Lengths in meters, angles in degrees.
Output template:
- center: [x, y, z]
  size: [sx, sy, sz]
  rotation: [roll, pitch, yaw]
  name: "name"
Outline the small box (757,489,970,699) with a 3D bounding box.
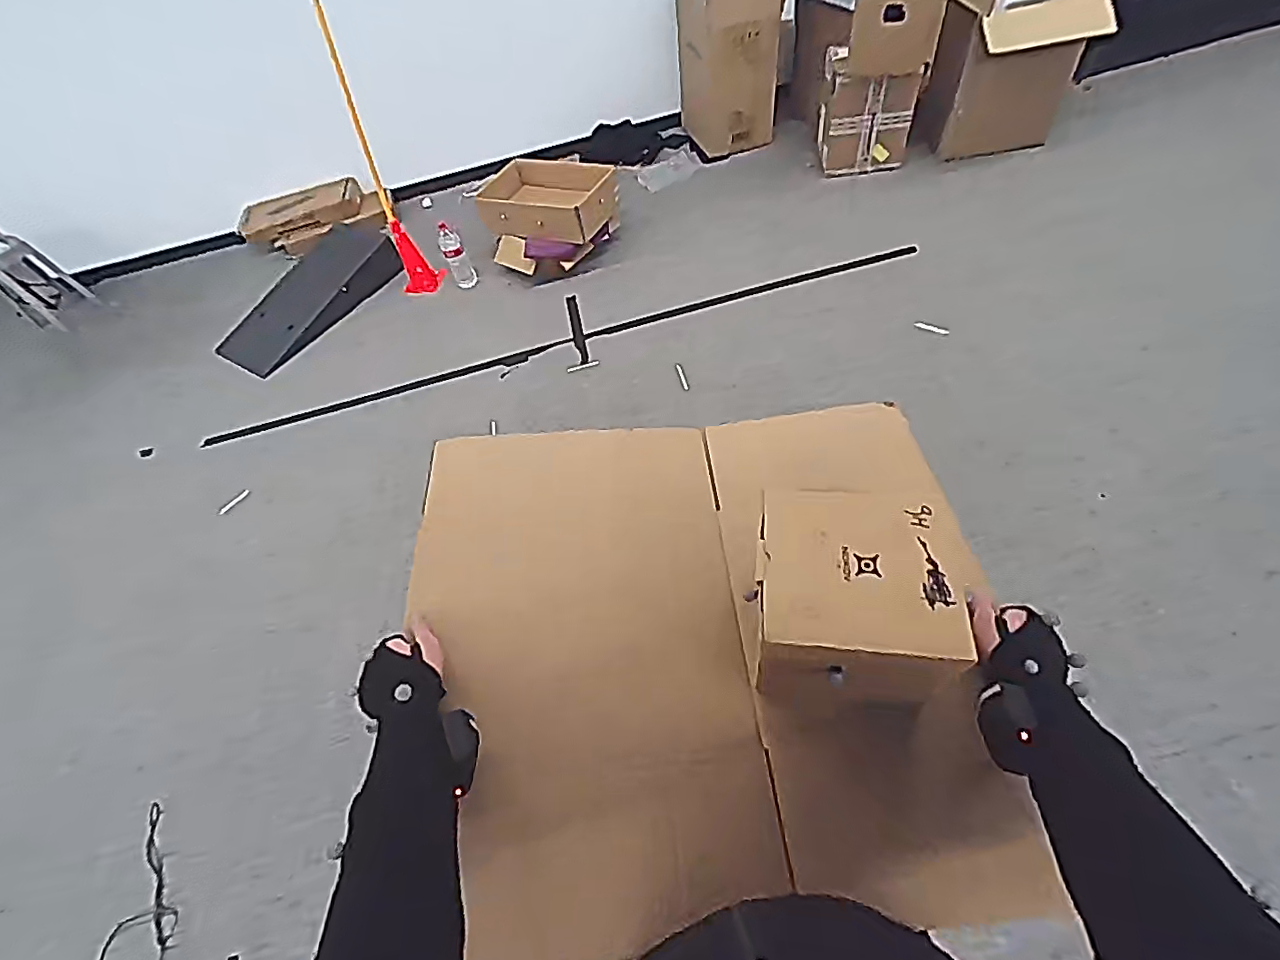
- center: [0.217, 0.125, 0.577]
  size: [0.179, 0.176, 0.168]
  rotation: [1, 56, 12]
  name: "small box"
